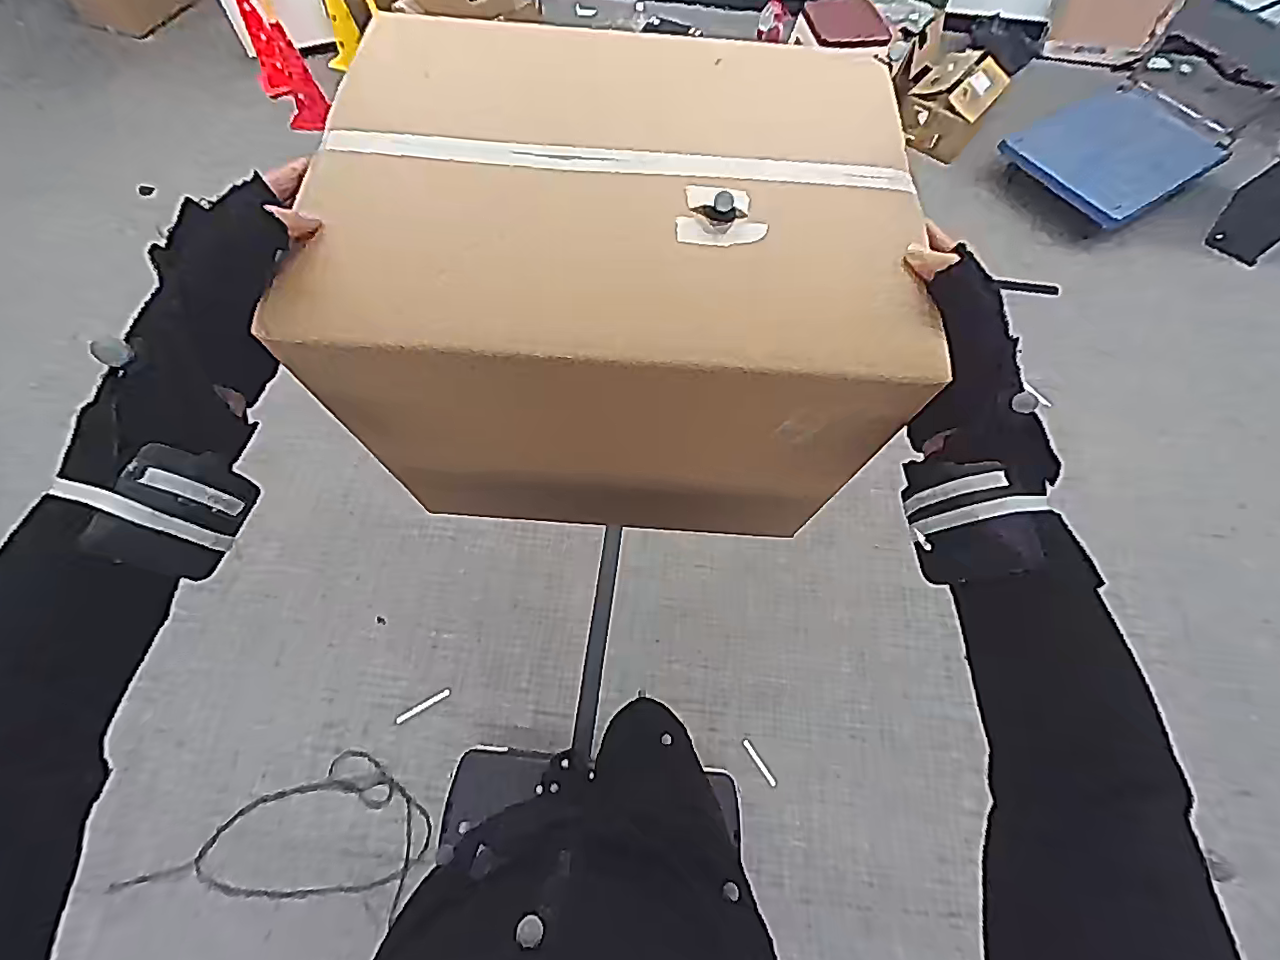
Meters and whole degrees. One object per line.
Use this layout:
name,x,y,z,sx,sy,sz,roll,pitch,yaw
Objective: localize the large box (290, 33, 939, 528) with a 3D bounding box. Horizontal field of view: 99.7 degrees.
large box,-0.015,-0.153,0.520,0.408,0.320,0.320,4,68,-2
